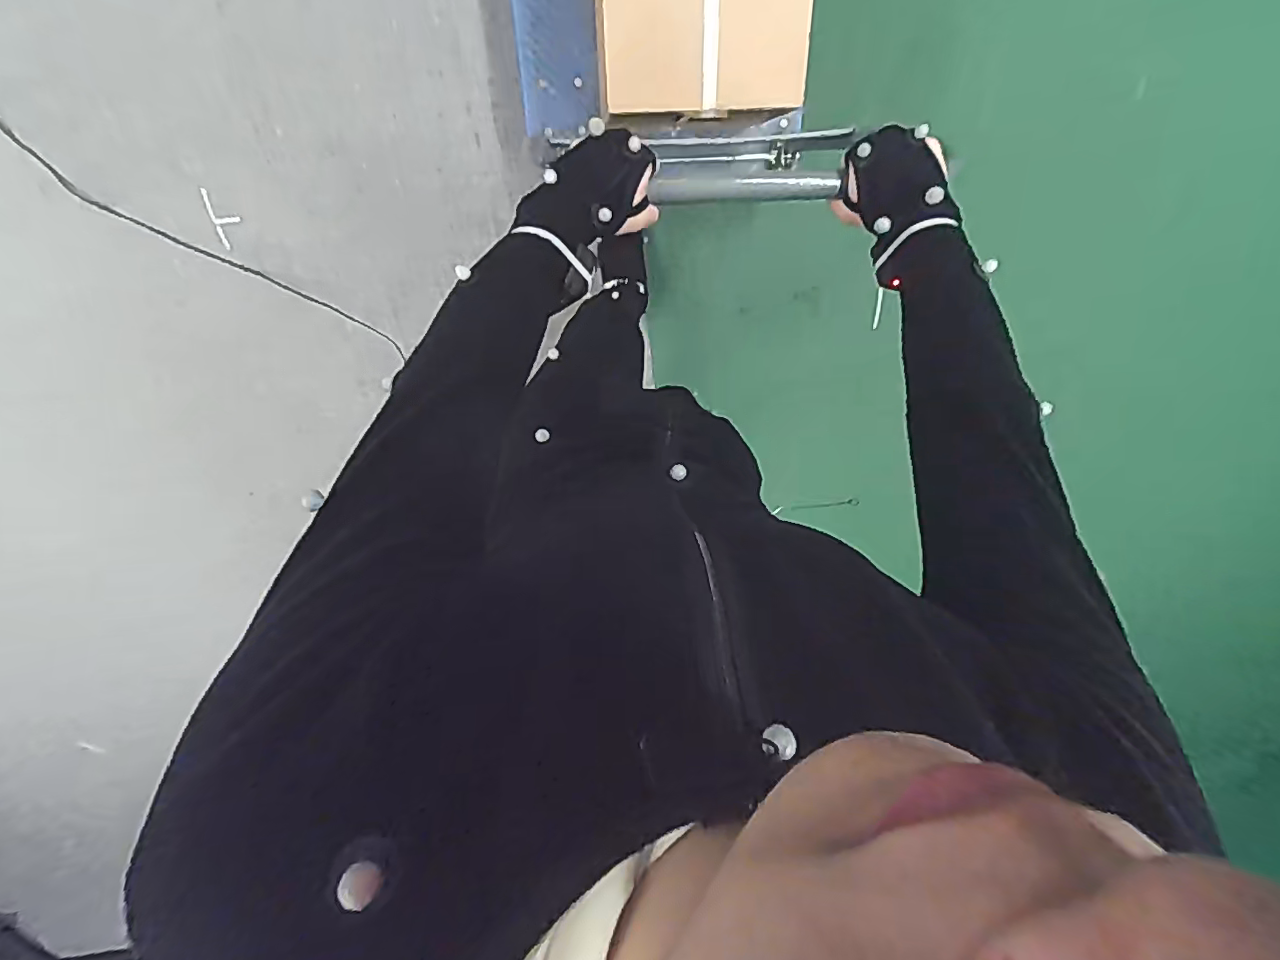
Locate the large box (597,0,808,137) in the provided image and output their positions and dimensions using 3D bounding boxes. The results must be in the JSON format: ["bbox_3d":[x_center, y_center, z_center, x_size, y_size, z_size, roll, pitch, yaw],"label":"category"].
[{"bbox_3d":[0.083,-0.828,0.897,0.320,0.320,0.408,-5,117,-4],"label":"large box"}]
